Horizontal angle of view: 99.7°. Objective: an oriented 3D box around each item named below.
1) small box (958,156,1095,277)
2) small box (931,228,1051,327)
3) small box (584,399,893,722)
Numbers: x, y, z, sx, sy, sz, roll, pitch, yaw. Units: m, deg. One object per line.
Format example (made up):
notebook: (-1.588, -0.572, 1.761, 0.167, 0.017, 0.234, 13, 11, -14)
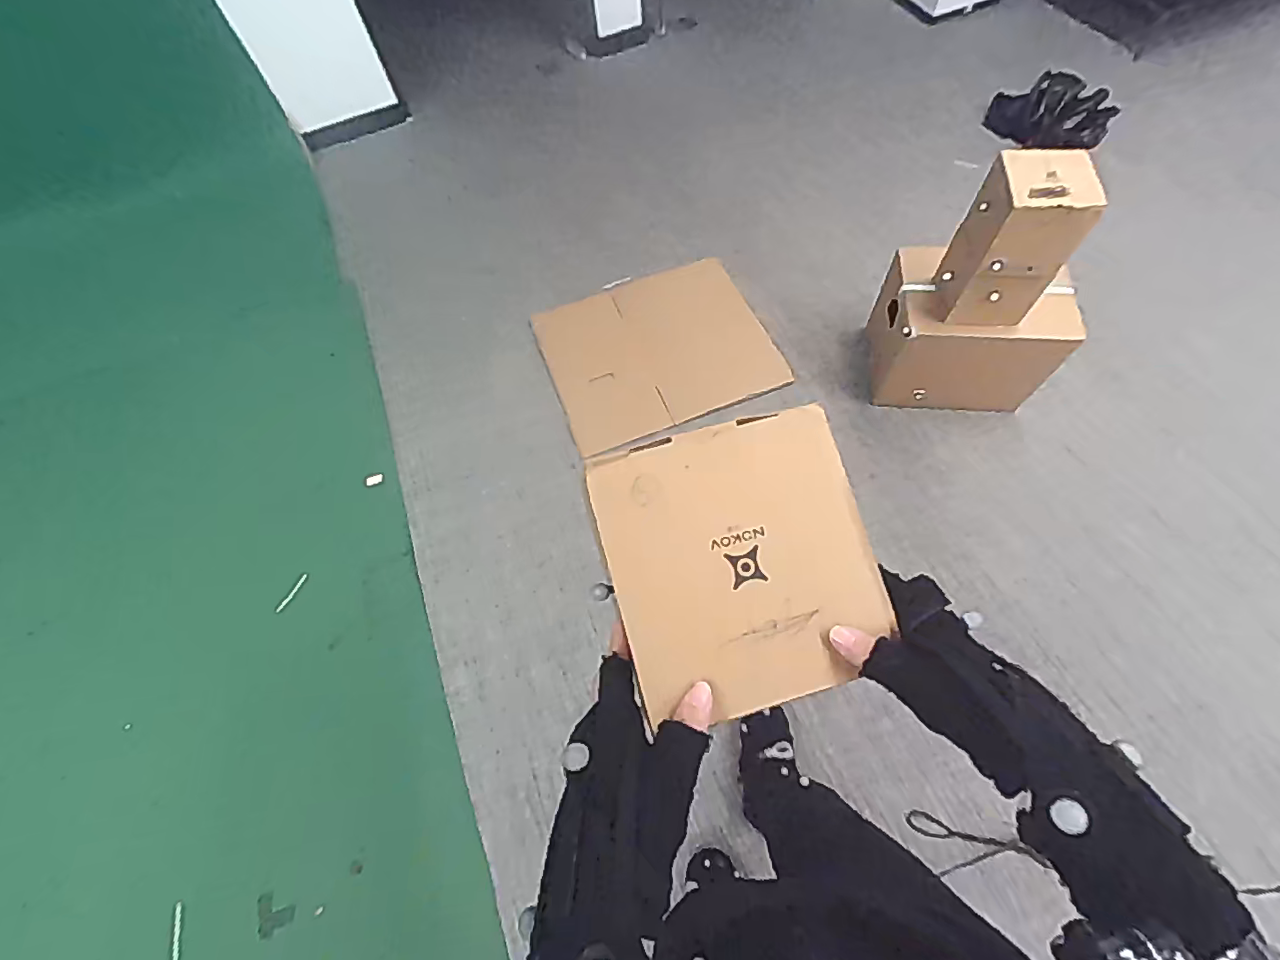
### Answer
small box: (0.802, -0.551, 1.142, 0.168, 0.176, 0.179, 4, 63, 8)
small box: (0.823, -0.483, 1.294, 0.179, 0.176, 0.168, 0, 62, 5)
small box: (0.055, 0.059, 0.426, 0.168, 0.176, 0.179, -15, 82, -6)
